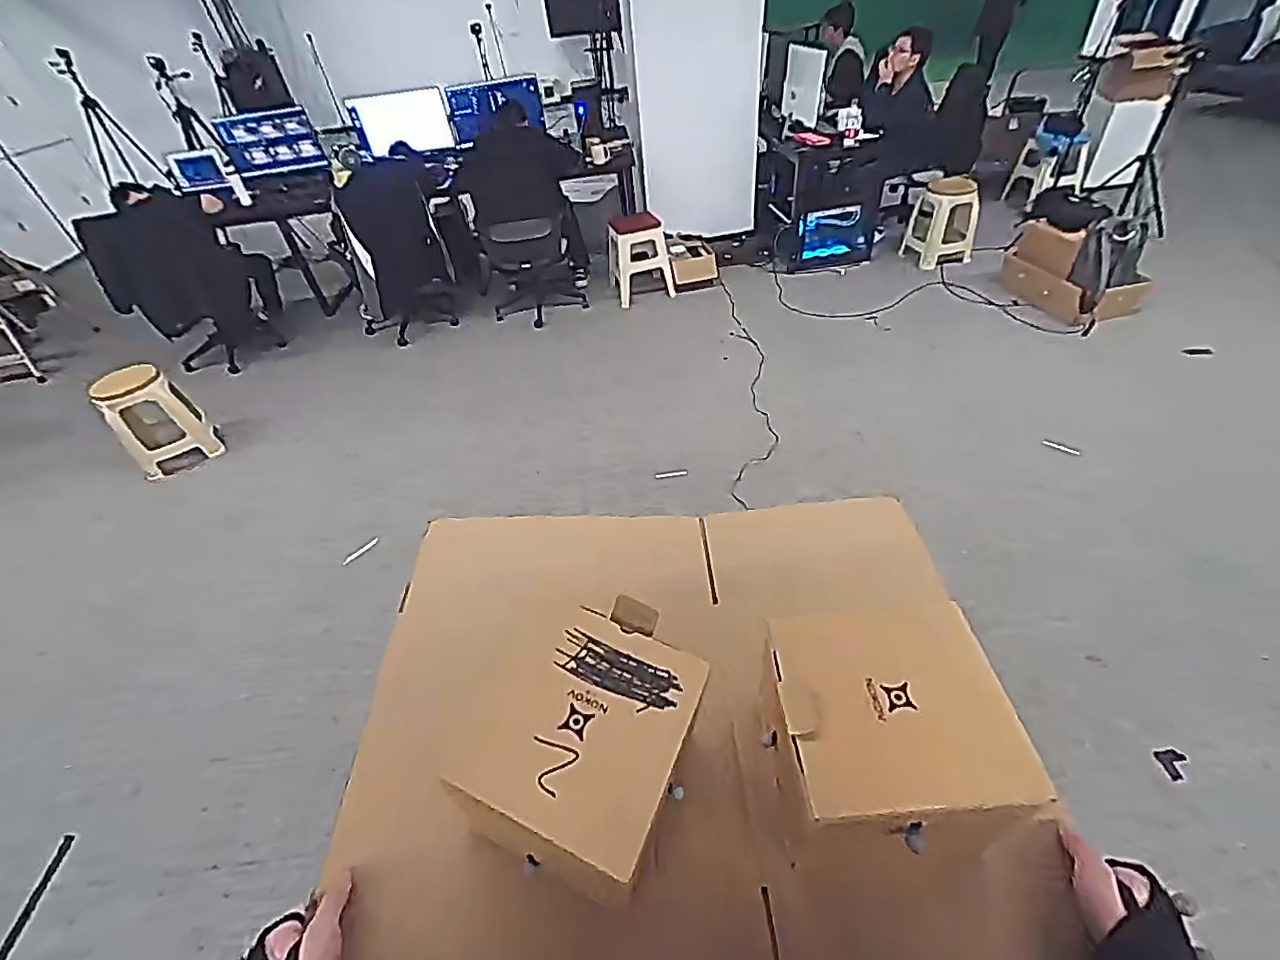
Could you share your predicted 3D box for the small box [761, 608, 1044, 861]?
[{"bbox_3d":[0.220,0.244,0.513,0.179,0.176,0.168,-7,44,3],"label":"small box"}]
